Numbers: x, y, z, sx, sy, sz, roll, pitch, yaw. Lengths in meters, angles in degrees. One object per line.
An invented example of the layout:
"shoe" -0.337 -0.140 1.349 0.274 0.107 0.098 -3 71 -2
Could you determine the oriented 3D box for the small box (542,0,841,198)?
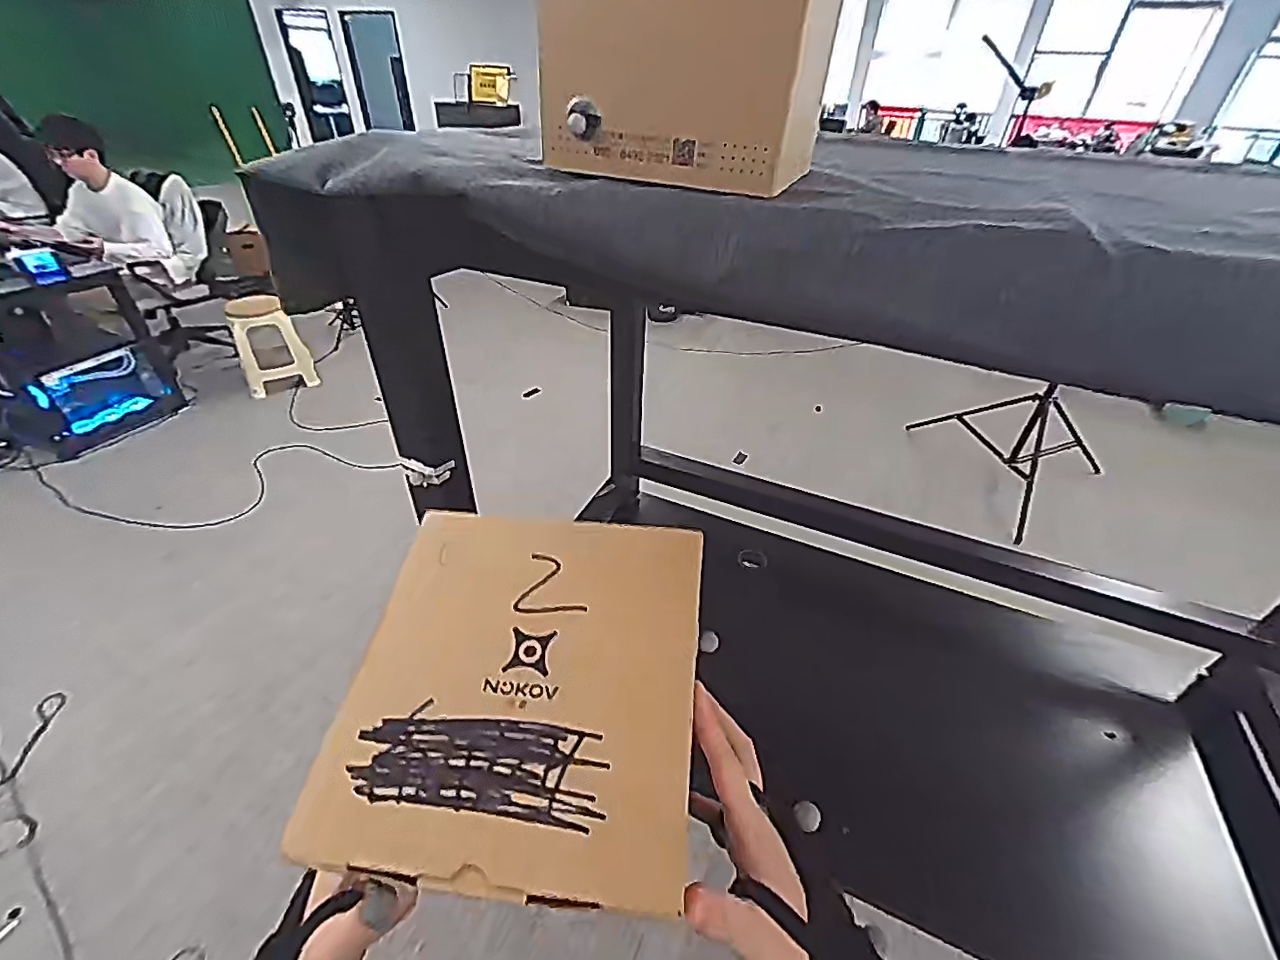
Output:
"small box" 0.043 -0.305 0.378 0.168 0.176 0.179 16 37 15
